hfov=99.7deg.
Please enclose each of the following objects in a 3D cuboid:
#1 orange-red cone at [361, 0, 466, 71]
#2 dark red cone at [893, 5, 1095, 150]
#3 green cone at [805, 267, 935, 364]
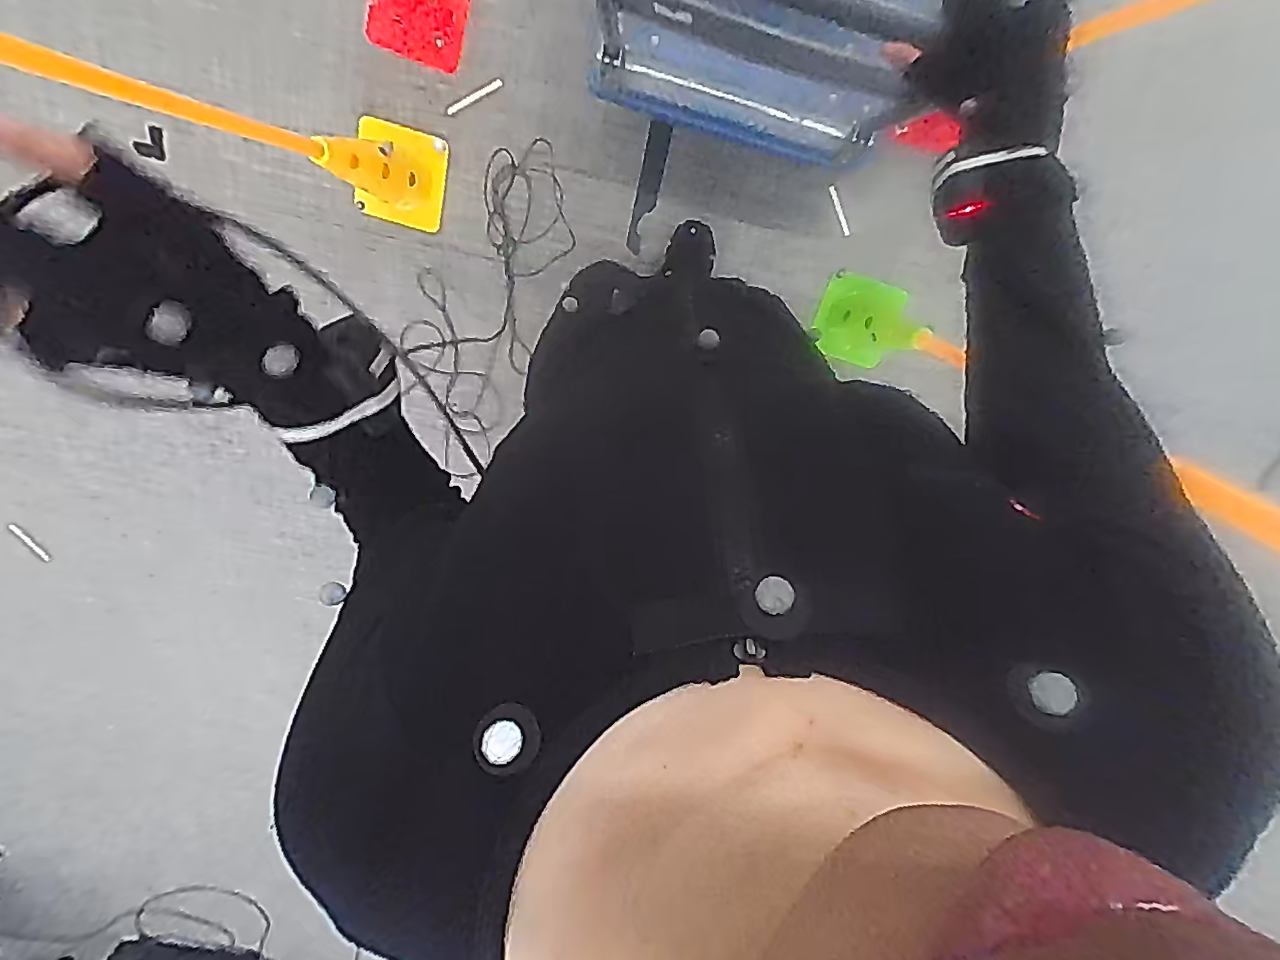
[{"bbox_3d":[-0.462,-0.924,0.957,0.198,0.360,0.199,19,110,-8],"label":"orange-red cone"},{"bbox_3d":[0.660,-0.766,0.994,0.201,0.394,0.202,11,113,-6],"label":"dark red cone"},{"bbox_3d":[0.535,-0.341,1.192,0.202,0.368,0.200,15,112,-7],"label":"green cone"}]
